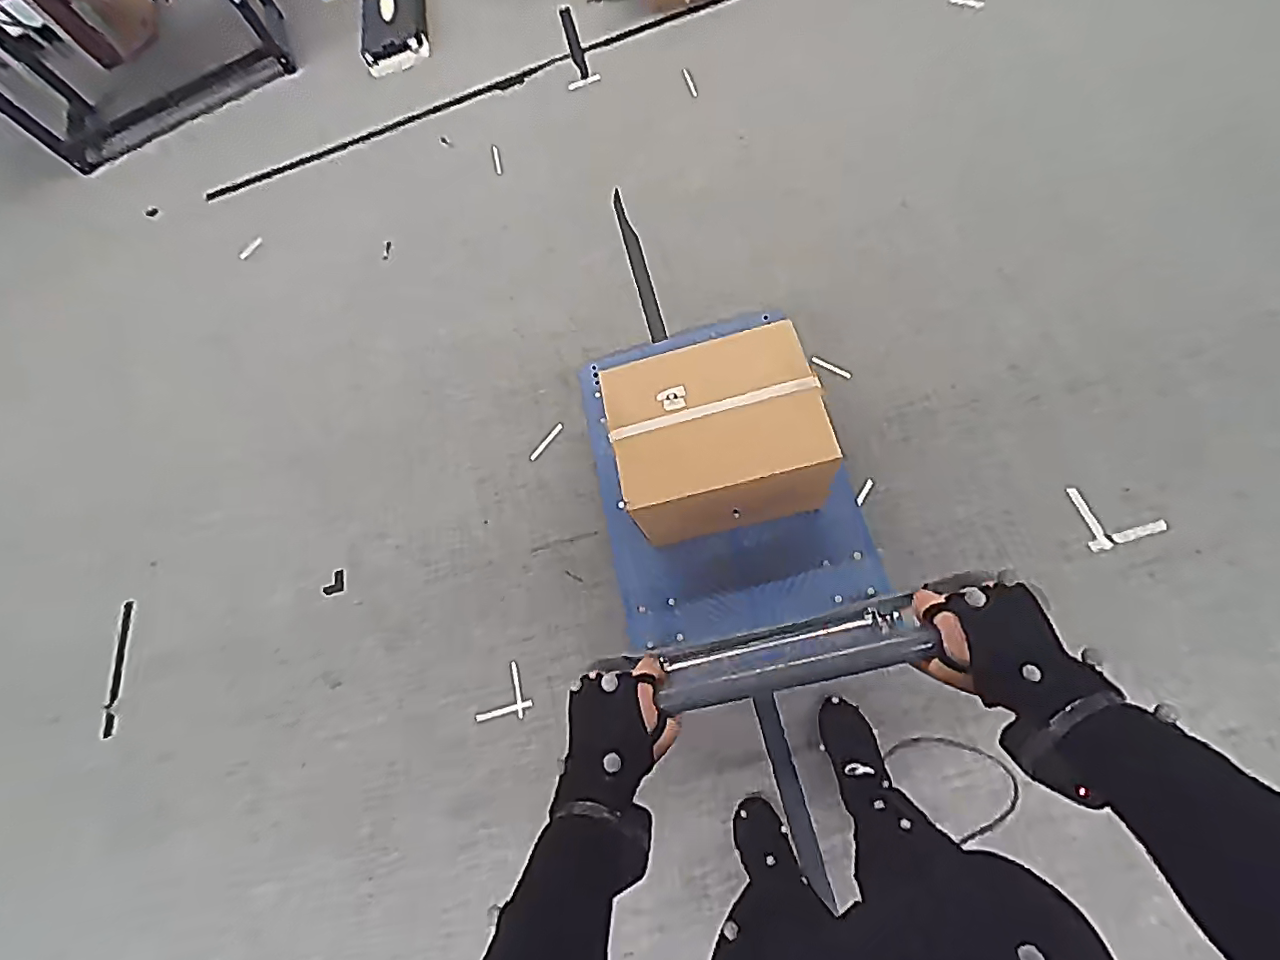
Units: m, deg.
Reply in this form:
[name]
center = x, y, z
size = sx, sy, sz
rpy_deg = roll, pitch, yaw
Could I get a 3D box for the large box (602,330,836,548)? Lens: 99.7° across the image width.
[large box]
center = 0.170, -0.069, 1.200
size = 0.408, 0.320, 0.320
rpy_deg = -15, 67, 7
